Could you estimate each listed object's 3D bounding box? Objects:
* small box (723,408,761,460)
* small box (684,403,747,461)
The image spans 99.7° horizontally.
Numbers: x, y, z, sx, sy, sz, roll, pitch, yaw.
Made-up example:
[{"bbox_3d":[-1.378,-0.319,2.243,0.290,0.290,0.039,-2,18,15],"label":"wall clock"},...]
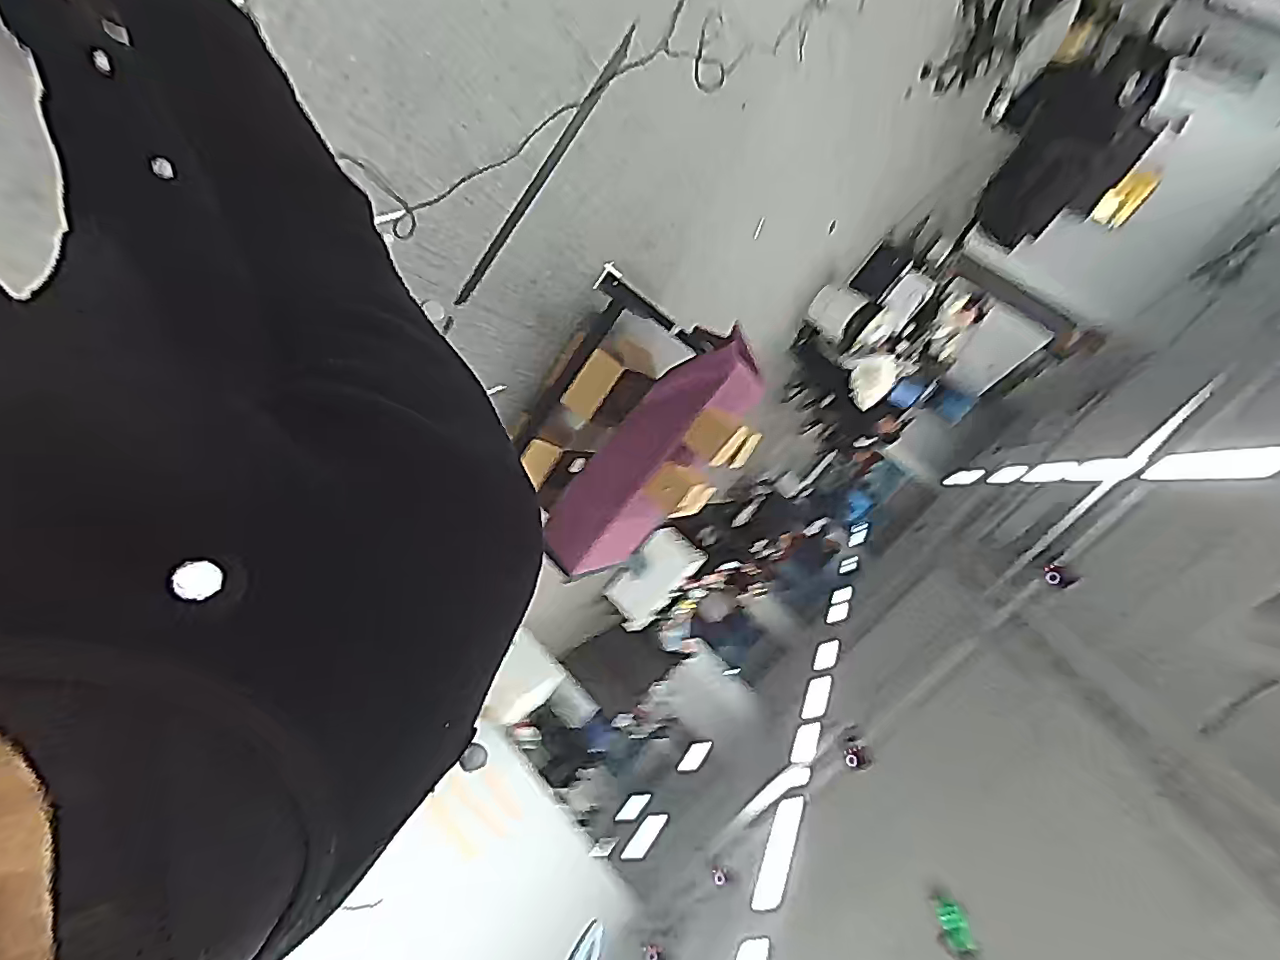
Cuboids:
[{"bbox_3d":[0.417,-0.209,2.461,0.179,0.176,0.168,-53,161,17],"label":"small box"},{"bbox_3d":[0.312,-0.198,2.243,0.179,0.176,0.168,-53,161,15],"label":"small box"}]
